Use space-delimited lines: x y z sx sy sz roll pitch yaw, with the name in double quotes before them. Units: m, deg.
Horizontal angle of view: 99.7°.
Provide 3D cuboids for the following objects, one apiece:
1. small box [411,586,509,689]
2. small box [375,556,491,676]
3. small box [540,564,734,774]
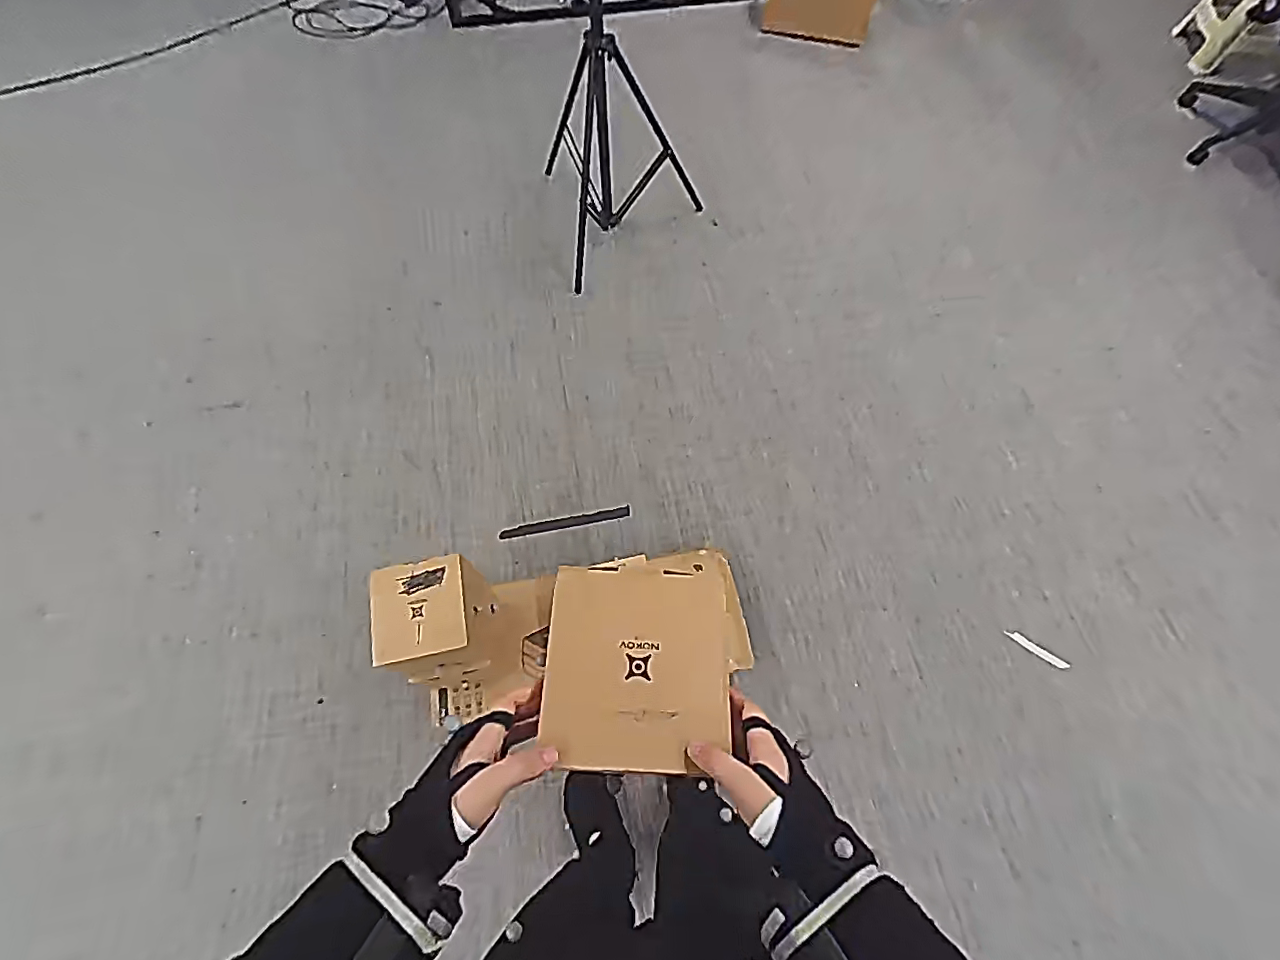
"small box" -0.392 0.349 1.189 0.168 0.176 0.179 -10 66 -5
"small box" -0.396 0.268 1.047 0.168 0.176 0.179 -11 66 -6
"small box" -0.005 0.201 0.558 0.168 0.176 0.179 3 61 -2
